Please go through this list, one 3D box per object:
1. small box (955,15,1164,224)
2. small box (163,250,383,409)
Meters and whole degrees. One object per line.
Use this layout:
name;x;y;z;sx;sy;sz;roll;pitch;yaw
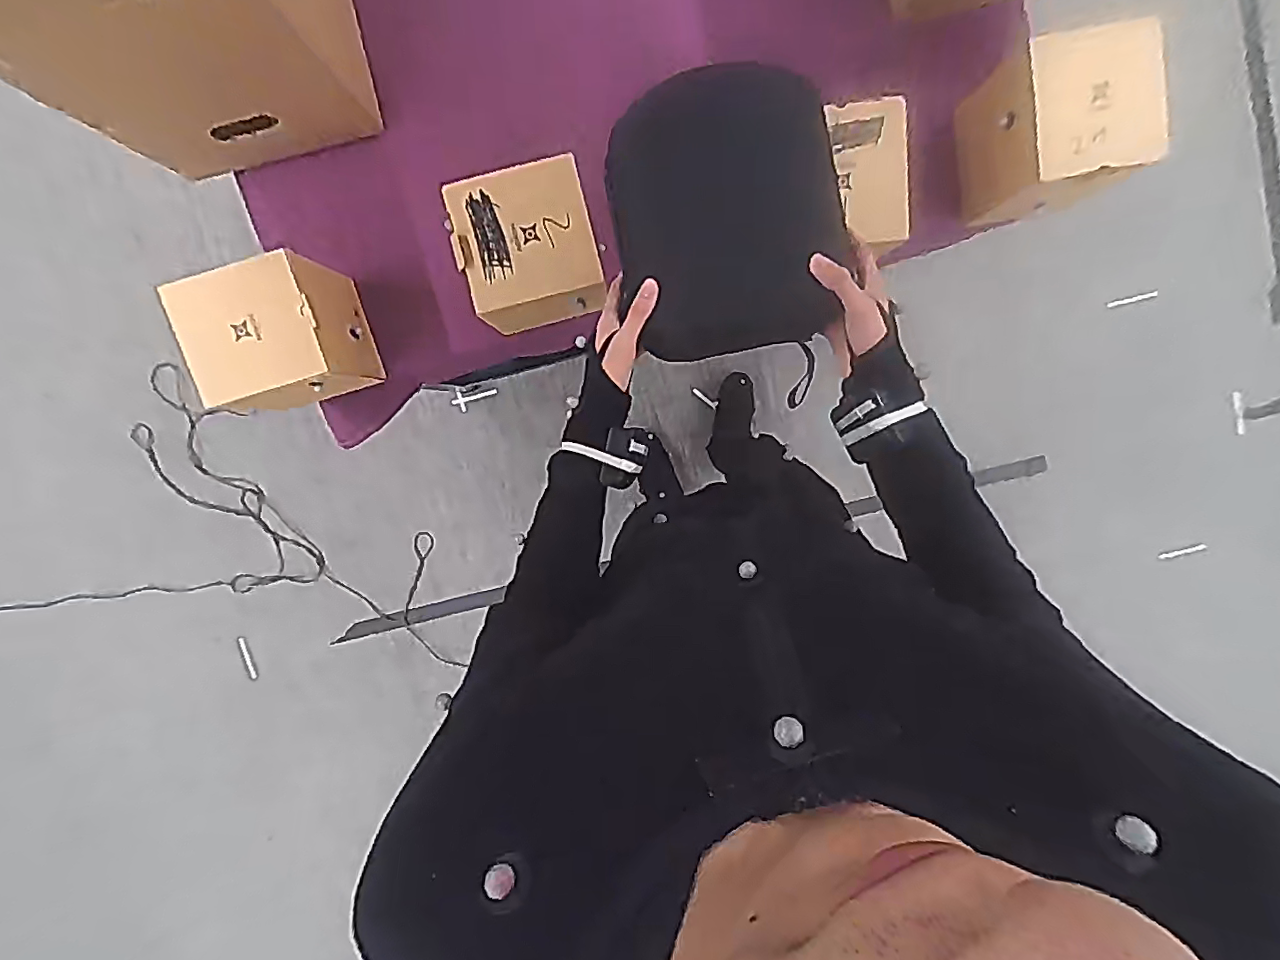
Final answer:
small box;0.571;-0.488;0.758;0.168;0.176;0.179;-9;97;1
small box;-0.511;-0.203;0.781;0.179;0.176;0.168;-17;97;0
